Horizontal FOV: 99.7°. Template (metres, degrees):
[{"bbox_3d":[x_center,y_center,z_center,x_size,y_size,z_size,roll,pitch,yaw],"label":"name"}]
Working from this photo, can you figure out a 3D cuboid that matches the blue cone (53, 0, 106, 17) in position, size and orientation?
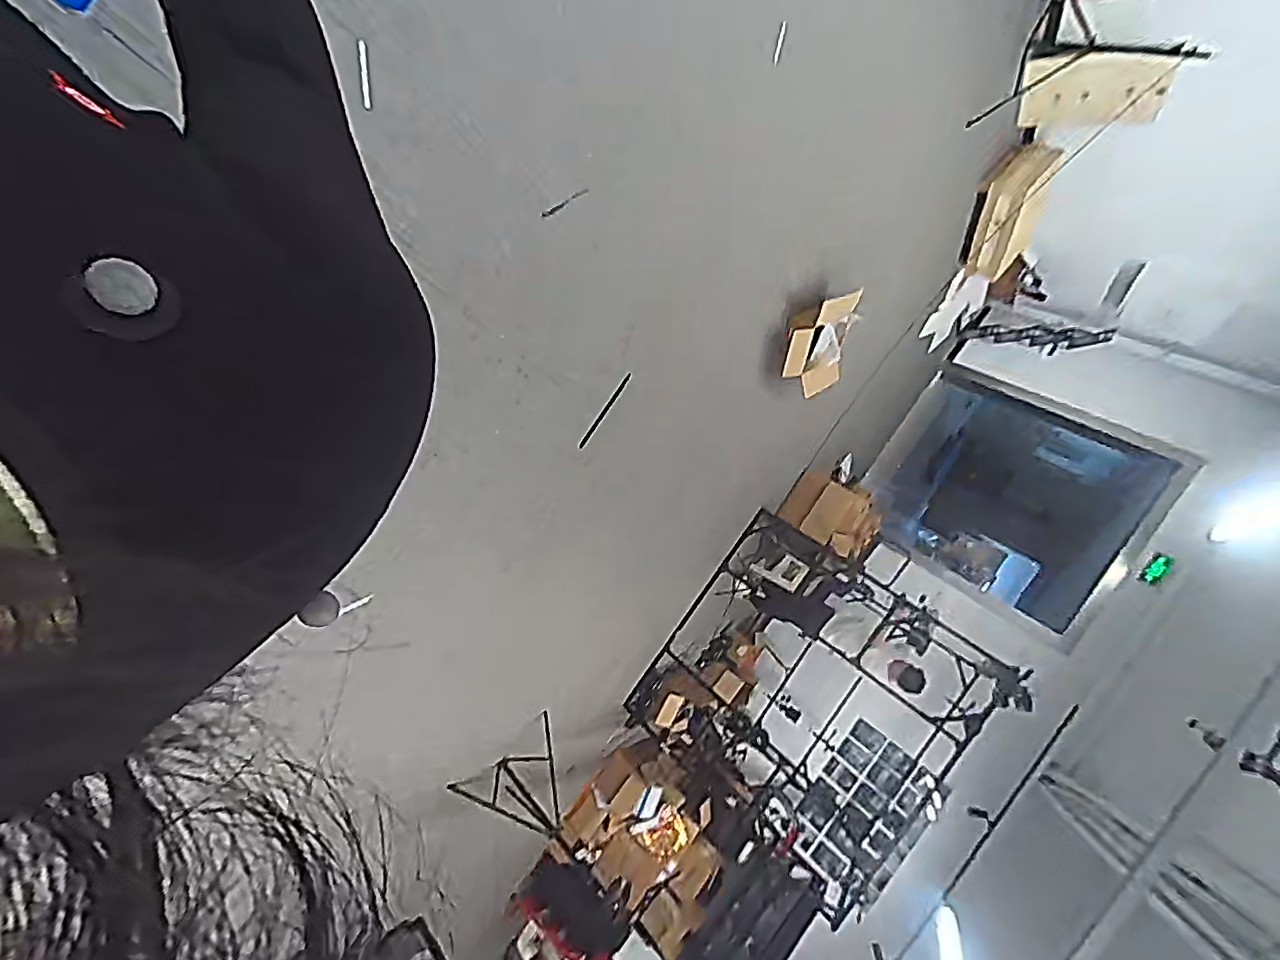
[{"bbox_3d":[-0.775,-0.751,0.710,0.193,0.380,0.192,-57,150,5],"label":"blue cone"}]
